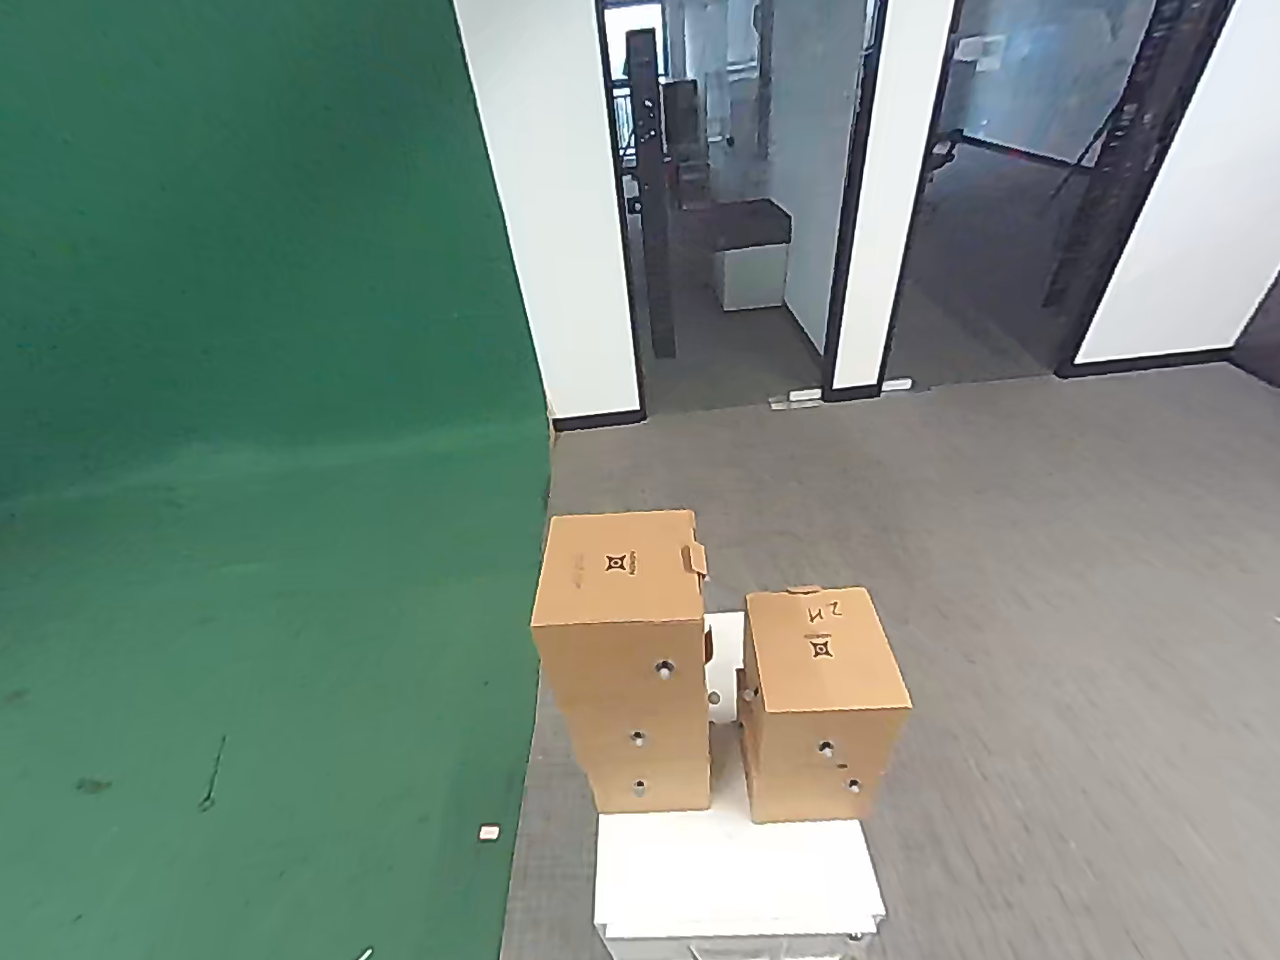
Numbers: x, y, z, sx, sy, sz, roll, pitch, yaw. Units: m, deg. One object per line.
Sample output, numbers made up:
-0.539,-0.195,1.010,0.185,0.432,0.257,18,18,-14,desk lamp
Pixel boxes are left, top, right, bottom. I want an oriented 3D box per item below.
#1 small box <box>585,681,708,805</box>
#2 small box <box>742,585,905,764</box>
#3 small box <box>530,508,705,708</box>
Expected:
0.015,0.398,0.860,0.179,0.176,0.168,-4,40,2,small box
0.231,0.265,0.730,0.168,0.176,0.179,-3,39,4,small box
-0.016,0.153,0.644,0.179,0.176,0.168,-4,38,3,small box
